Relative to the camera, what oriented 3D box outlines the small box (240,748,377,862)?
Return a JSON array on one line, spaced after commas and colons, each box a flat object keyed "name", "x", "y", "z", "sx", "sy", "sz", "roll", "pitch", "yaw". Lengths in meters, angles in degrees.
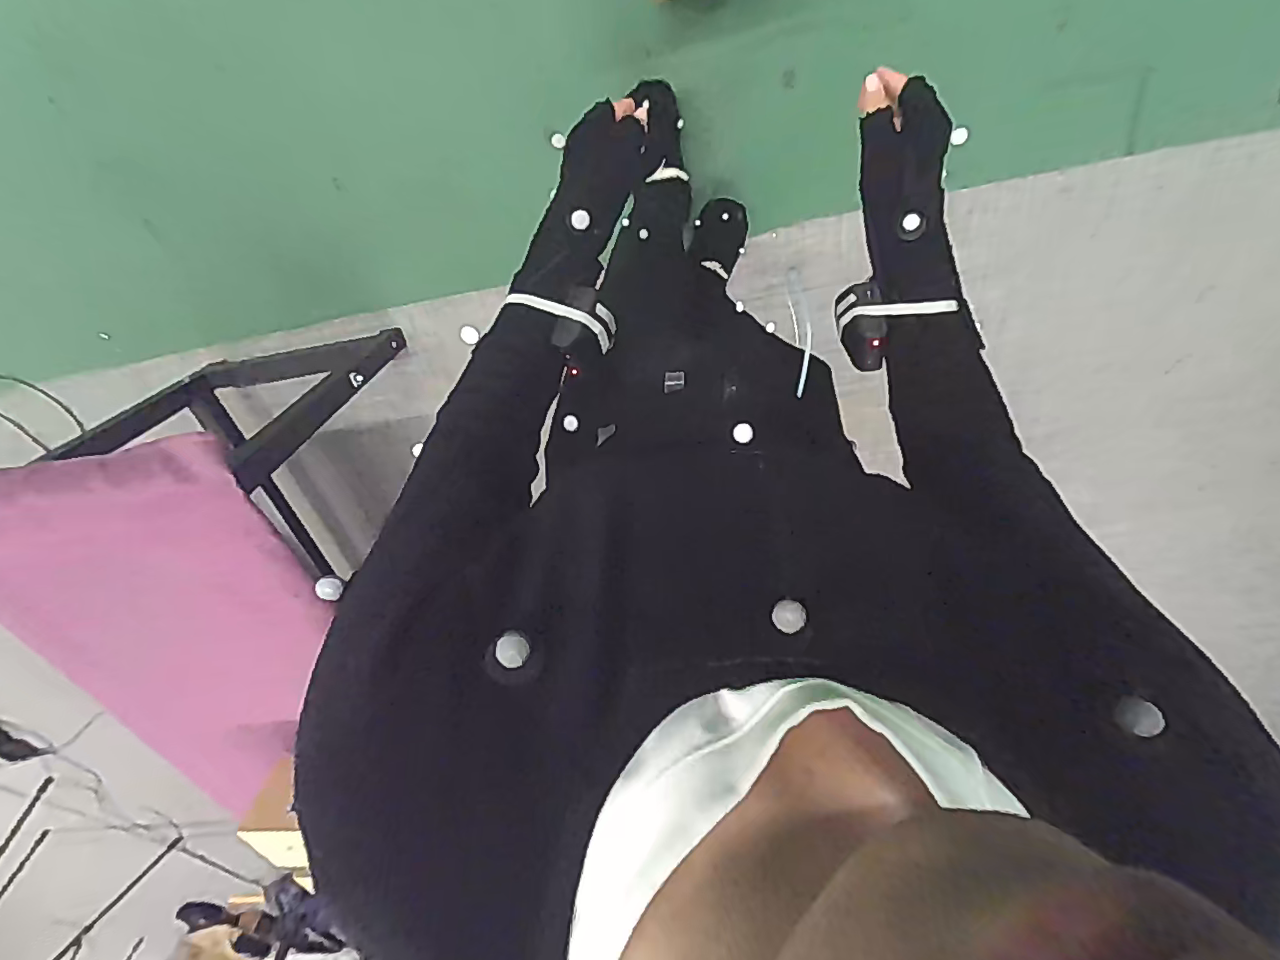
[{"name": "small box", "x": -0.711, "y": 0.712, "z": 1.193, "sx": 0.179, "sy": 0.176, "sz": 0.168, "roll": -5, "pitch": 124, "yaw": 8}]
